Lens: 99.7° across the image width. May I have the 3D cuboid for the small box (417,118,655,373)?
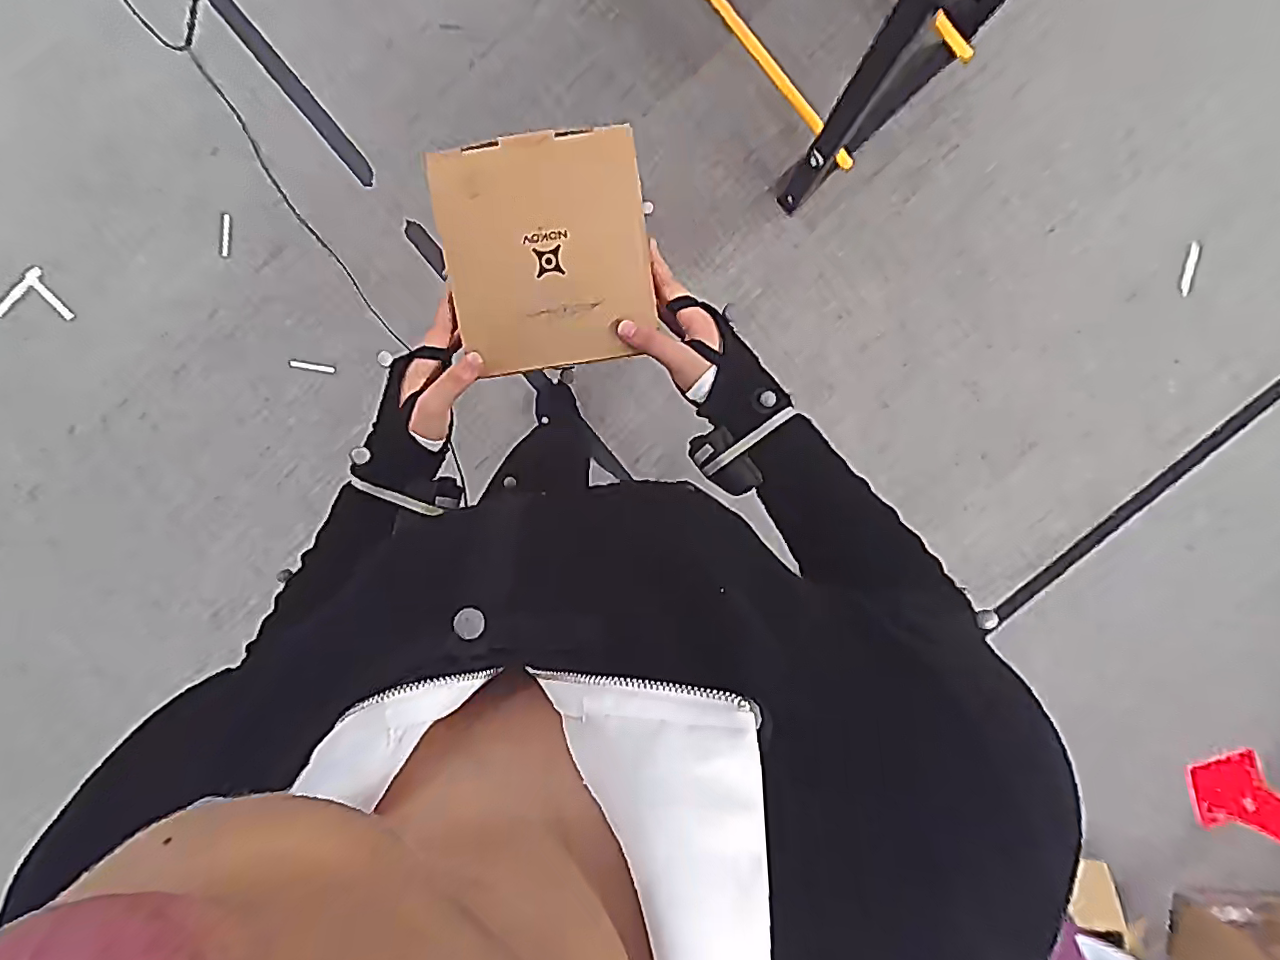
[{"bbox_3d":[-0.082,-0.199,0.506,0.168,0.176,0.179,-9,103,0],"label":"small box"}]
